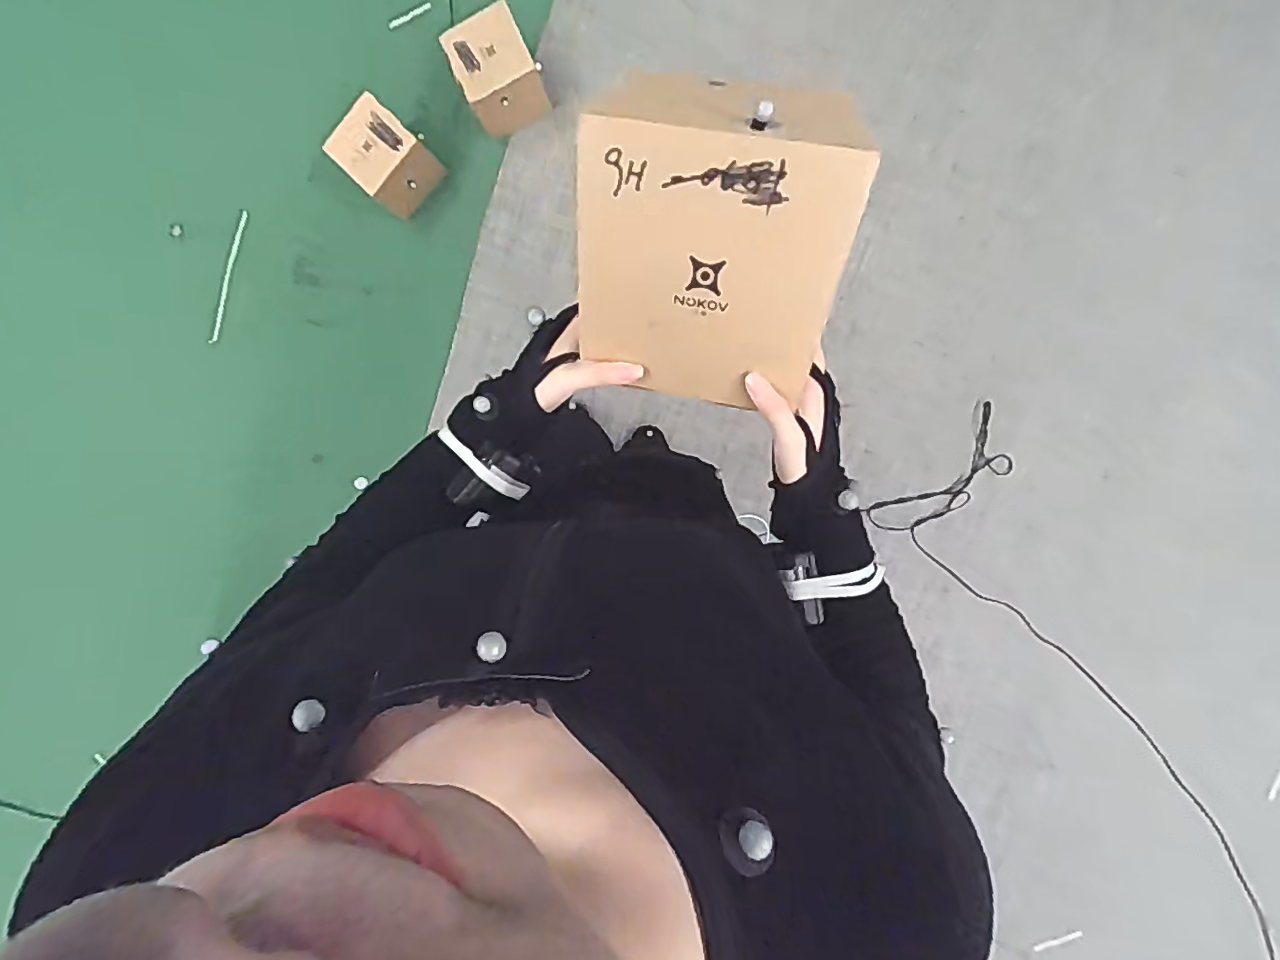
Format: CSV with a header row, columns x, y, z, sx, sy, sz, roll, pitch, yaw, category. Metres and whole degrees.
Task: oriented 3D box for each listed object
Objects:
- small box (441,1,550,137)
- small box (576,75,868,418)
x,y,z,sx,sy,sz,roll,pitch,yaw,category
-0.341,-0.979,1.310,0.179,0.176,0.168,-24,94,6,small box
0.055,-0.178,0.410,0.168,0.176,0.179,12,135,5,small box
